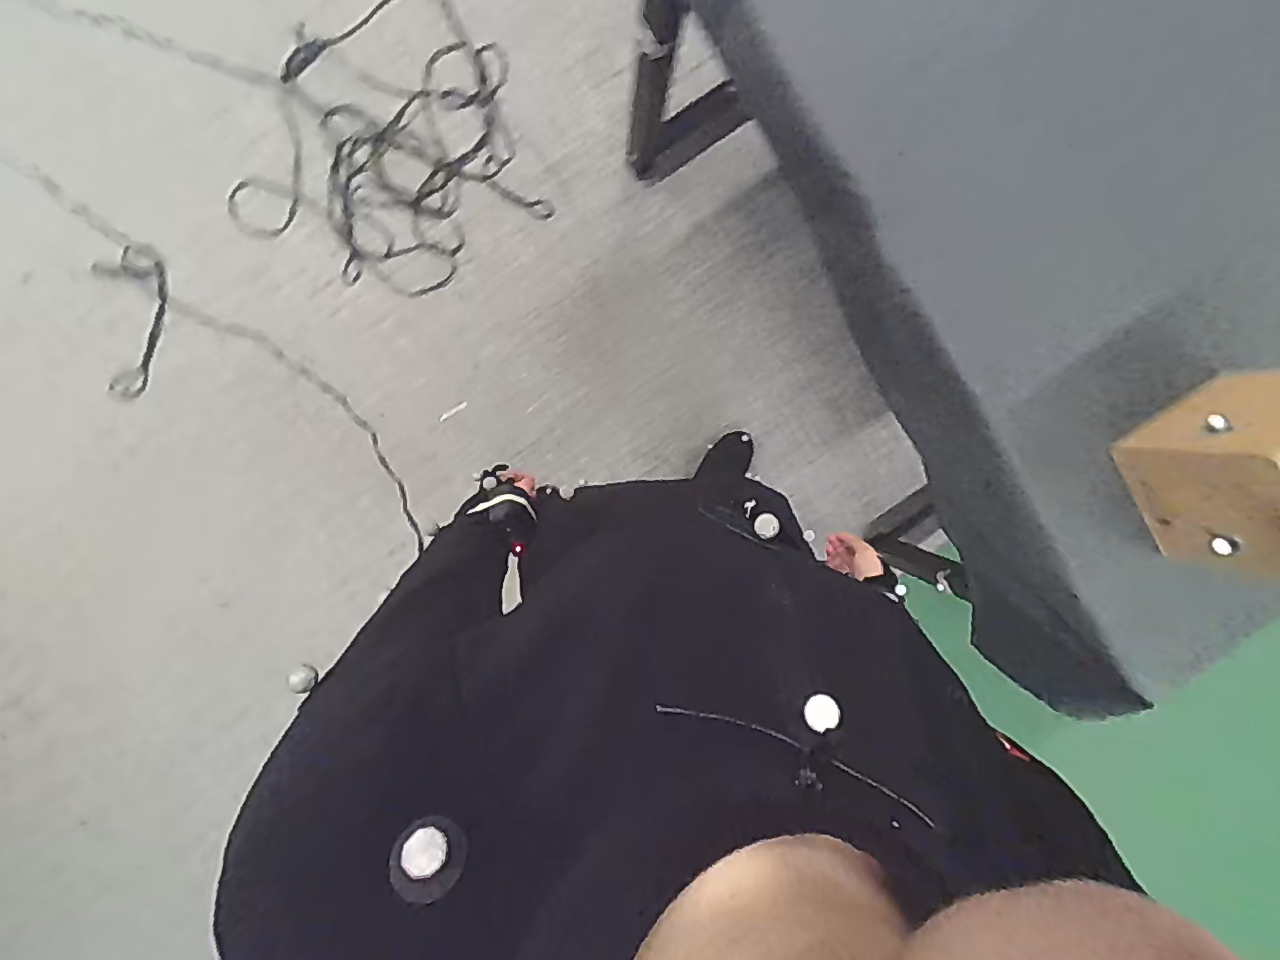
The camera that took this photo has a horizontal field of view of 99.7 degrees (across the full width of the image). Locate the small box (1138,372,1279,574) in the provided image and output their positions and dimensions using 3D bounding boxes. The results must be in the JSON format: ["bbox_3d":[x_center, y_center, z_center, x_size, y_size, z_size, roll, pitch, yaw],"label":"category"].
[{"bbox_3d":[0.699,-0.007,0.583,0.179,0.176,0.168,-33,98,-2],"label":"small box"}]
